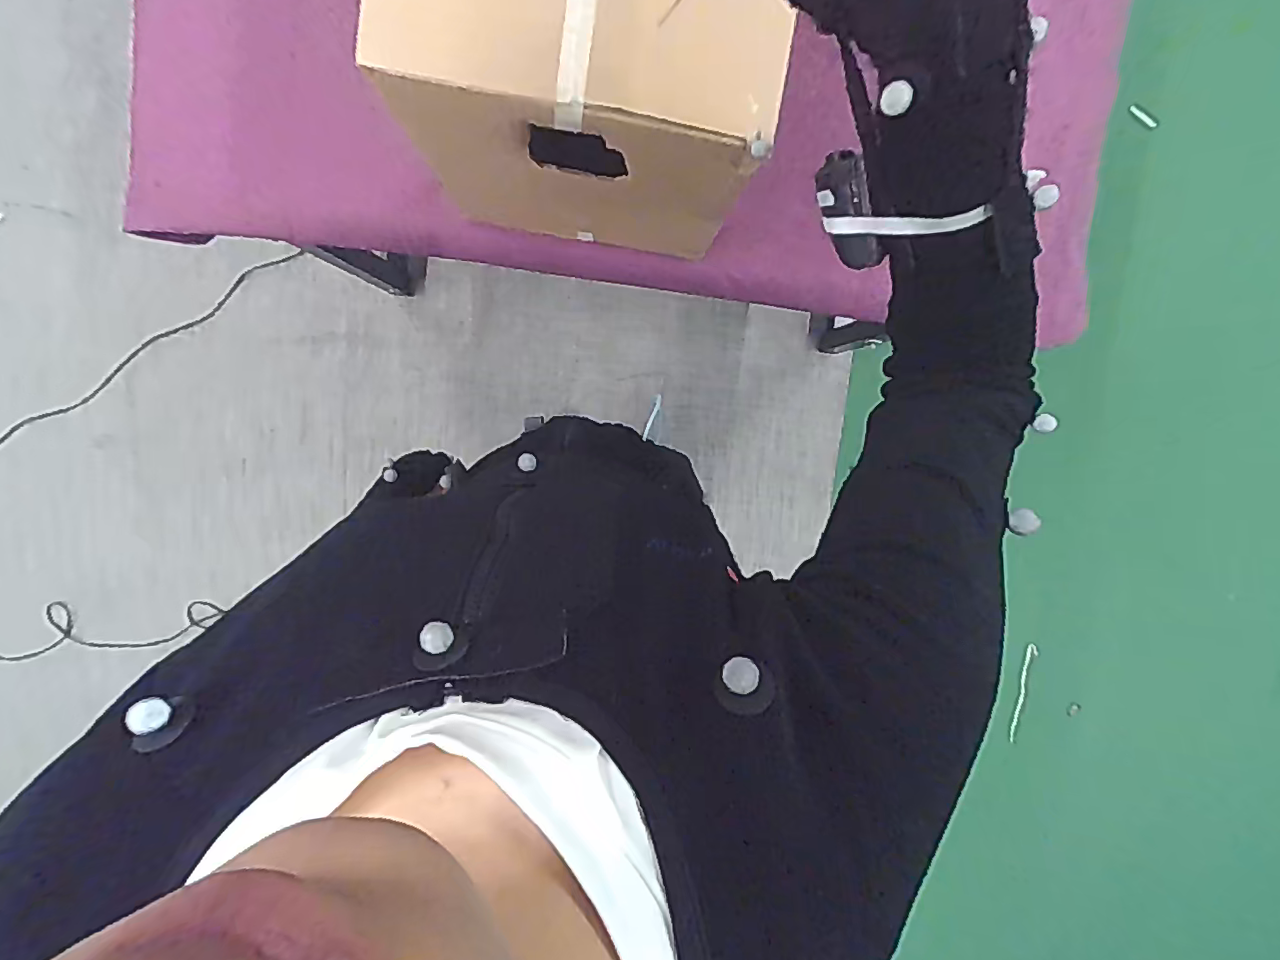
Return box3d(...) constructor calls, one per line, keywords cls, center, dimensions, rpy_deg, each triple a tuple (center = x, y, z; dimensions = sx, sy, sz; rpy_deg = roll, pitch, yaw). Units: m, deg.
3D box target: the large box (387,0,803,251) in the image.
box3d(cls="large box", center=(-0.022, -0.501, 0.541), dimensions=(0.320, 0.320, 0.408), rpy_deg=(9, 98, -4))
